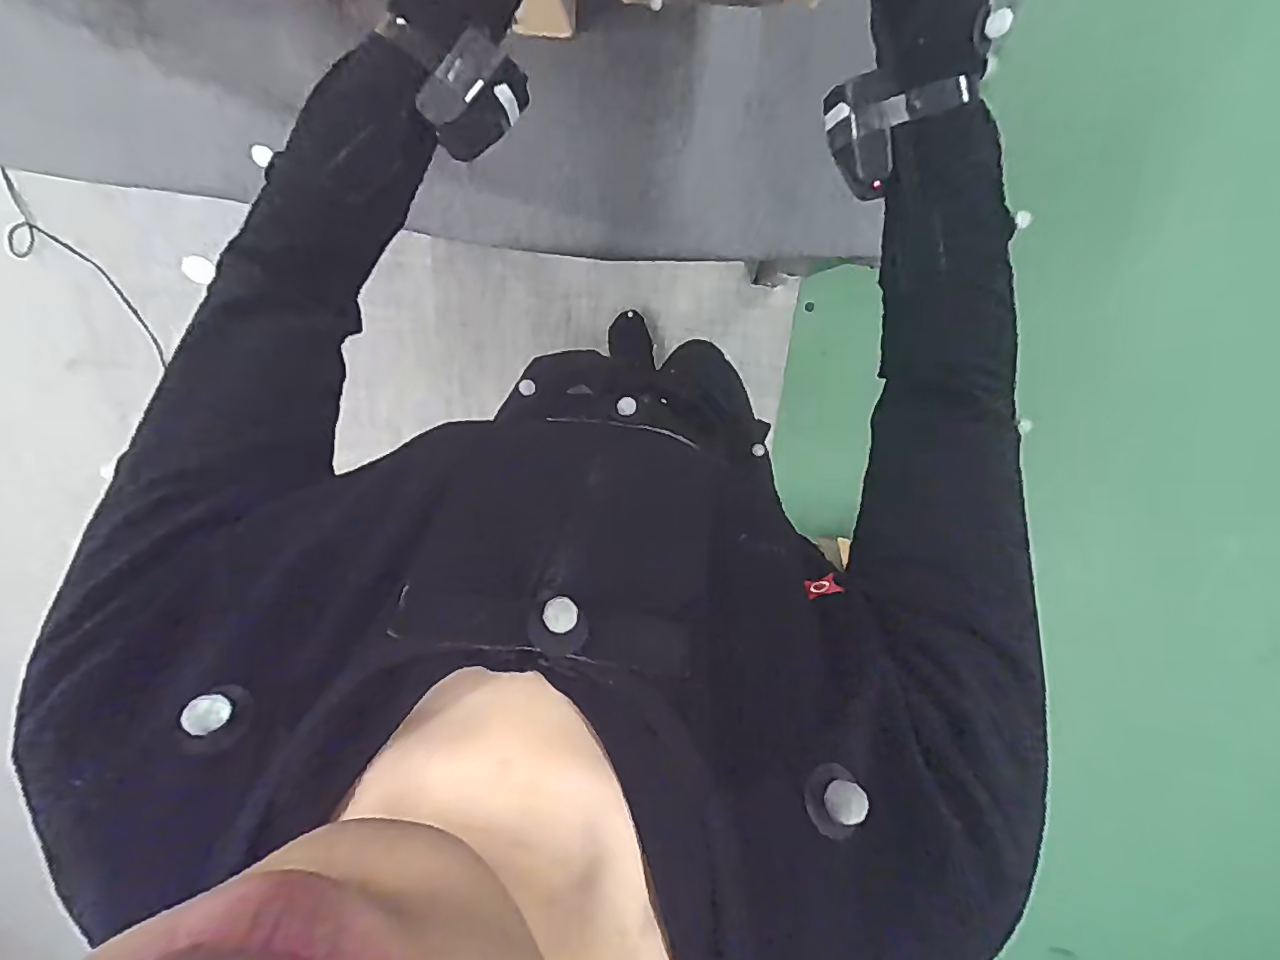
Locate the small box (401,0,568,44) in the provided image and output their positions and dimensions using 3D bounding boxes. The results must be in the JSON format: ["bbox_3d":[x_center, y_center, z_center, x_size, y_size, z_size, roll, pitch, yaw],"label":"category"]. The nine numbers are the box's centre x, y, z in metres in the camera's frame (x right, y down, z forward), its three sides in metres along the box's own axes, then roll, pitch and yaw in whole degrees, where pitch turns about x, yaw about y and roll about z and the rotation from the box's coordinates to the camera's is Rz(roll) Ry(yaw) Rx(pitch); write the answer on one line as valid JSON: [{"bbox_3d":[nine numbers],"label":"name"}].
[{"bbox_3d":[-0.155,-0.540,0.492,0.168,0.176,0.179,6,107,-1],"label":"small box"}]
